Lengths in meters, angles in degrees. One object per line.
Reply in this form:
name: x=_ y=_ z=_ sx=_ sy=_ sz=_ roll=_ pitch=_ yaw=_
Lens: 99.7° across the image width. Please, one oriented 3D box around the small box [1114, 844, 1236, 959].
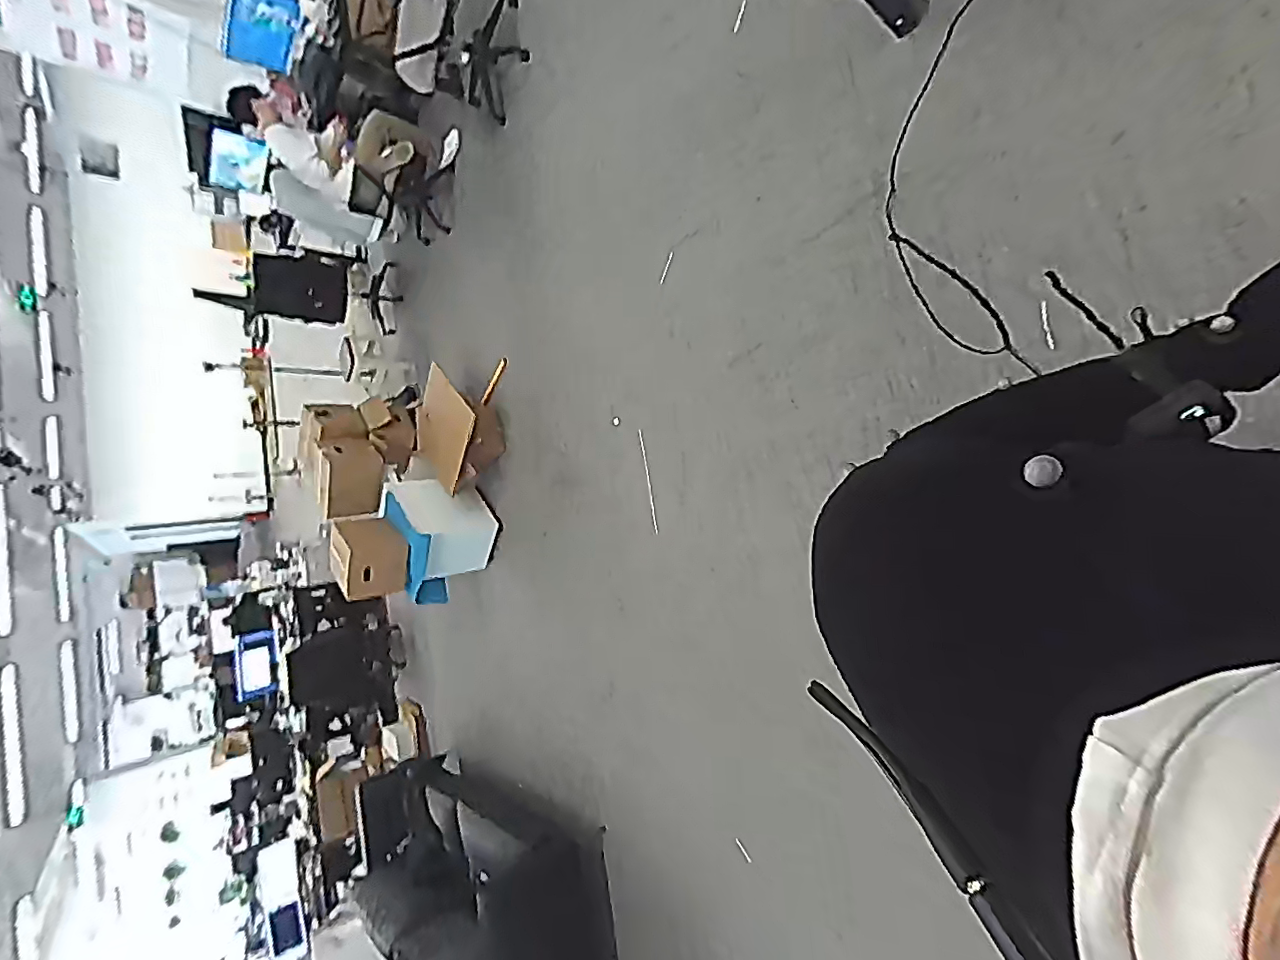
small box: x=1.113 y=0.908 z=1.125 sx=0.168 sy=0.176 sz=0.179 roll=-8 pitch=87 yaw=47
